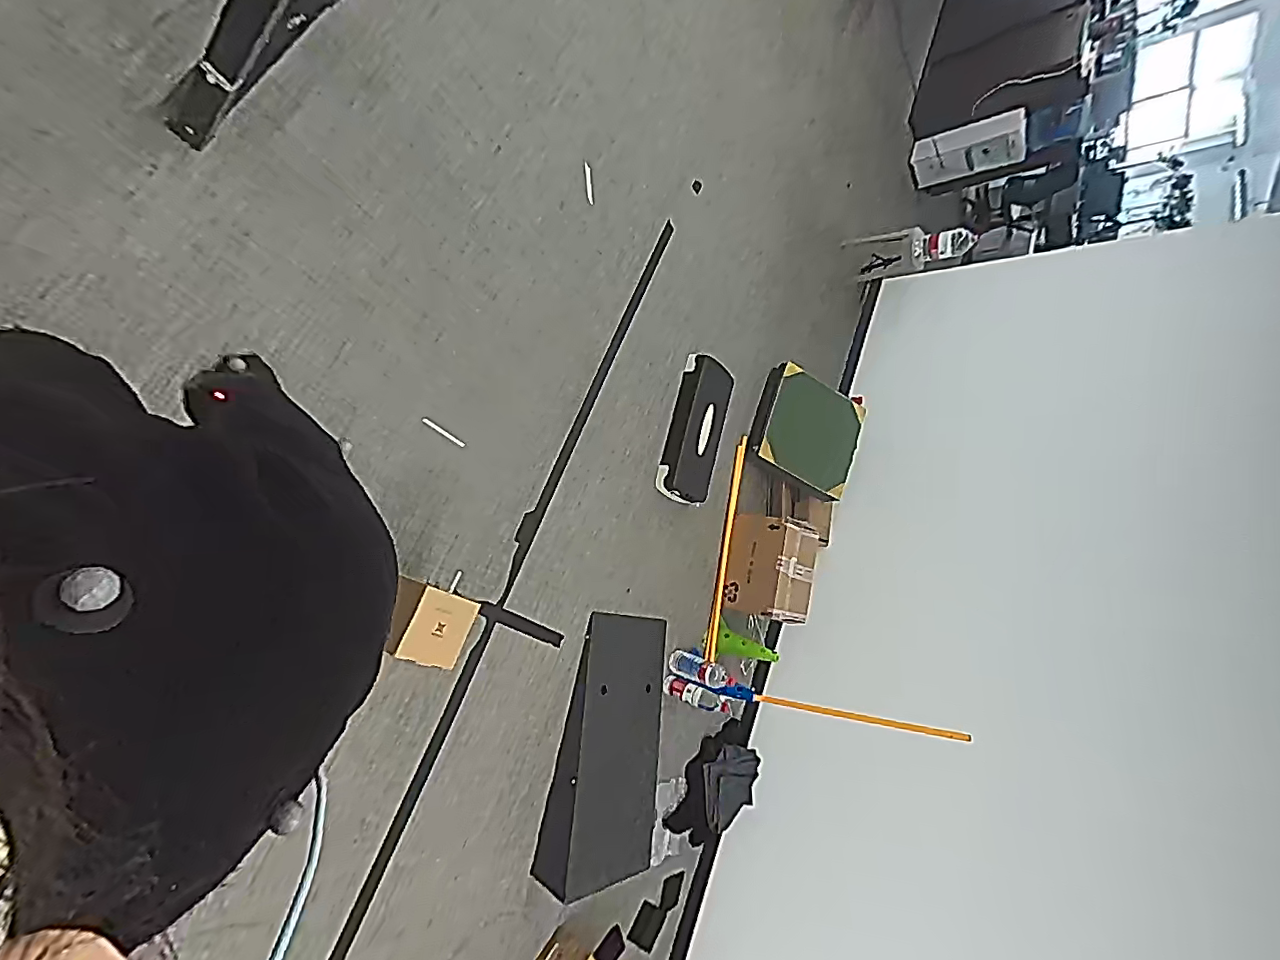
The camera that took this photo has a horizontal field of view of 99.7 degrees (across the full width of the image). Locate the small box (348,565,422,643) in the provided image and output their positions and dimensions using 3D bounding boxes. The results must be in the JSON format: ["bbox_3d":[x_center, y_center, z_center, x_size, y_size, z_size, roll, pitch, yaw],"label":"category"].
[{"bbox_3d":[-0.661,0.352,1.469,0.168,0.176,0.179,40,66,-43],"label":"small box"}]

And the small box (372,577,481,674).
[{"bbox_3d":[-0.540,0.362,1.358,0.168,0.176,0.179,38,66,-44],"label":"small box"}]
